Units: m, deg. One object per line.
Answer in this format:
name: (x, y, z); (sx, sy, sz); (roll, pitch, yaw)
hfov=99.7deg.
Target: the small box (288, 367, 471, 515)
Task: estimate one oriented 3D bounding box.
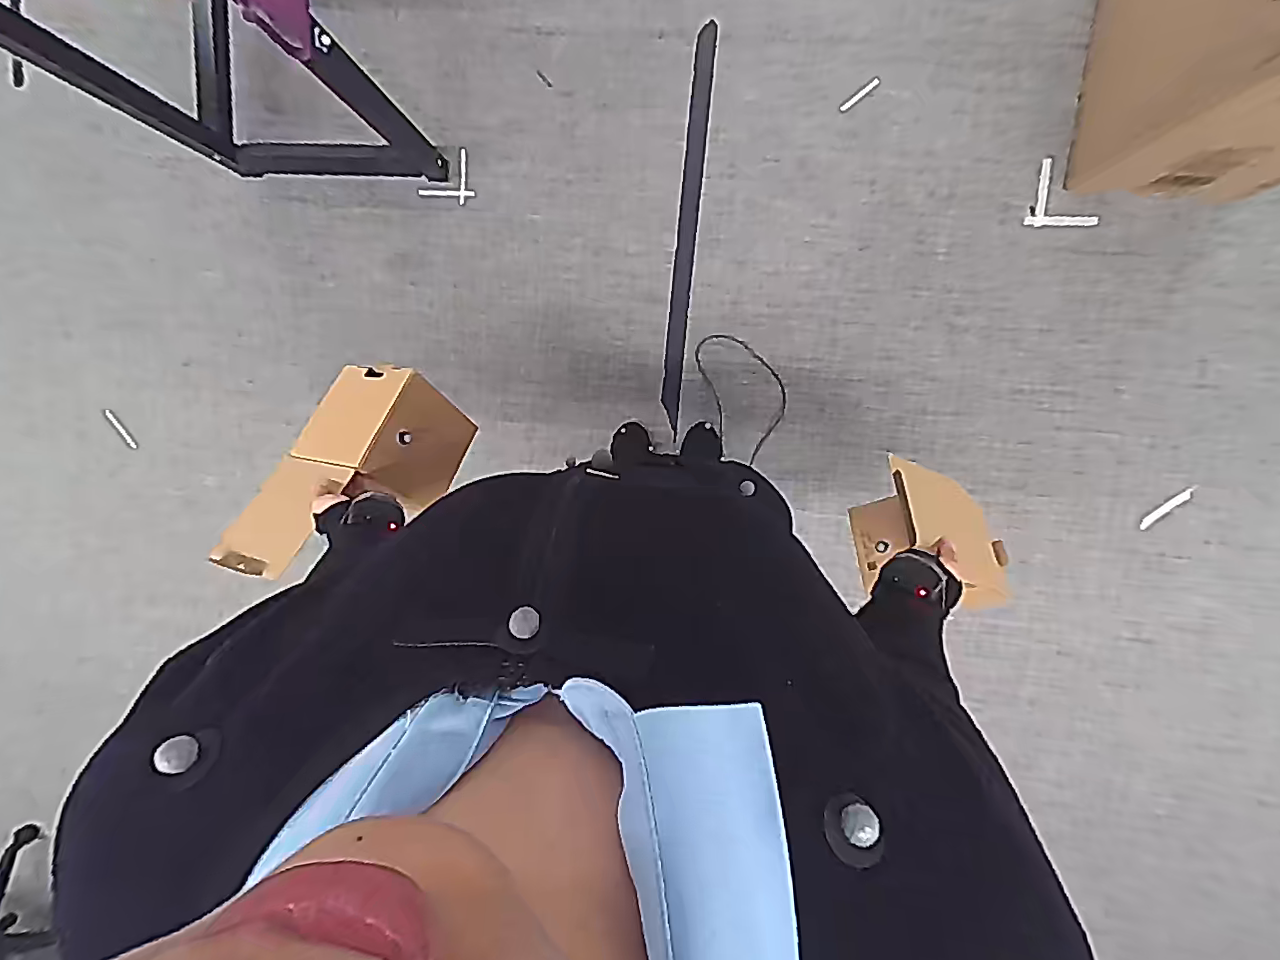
small box: (-0.405, -0.060, 0.871); (0.168, 0.176, 0.179); (9, 66, 27)
